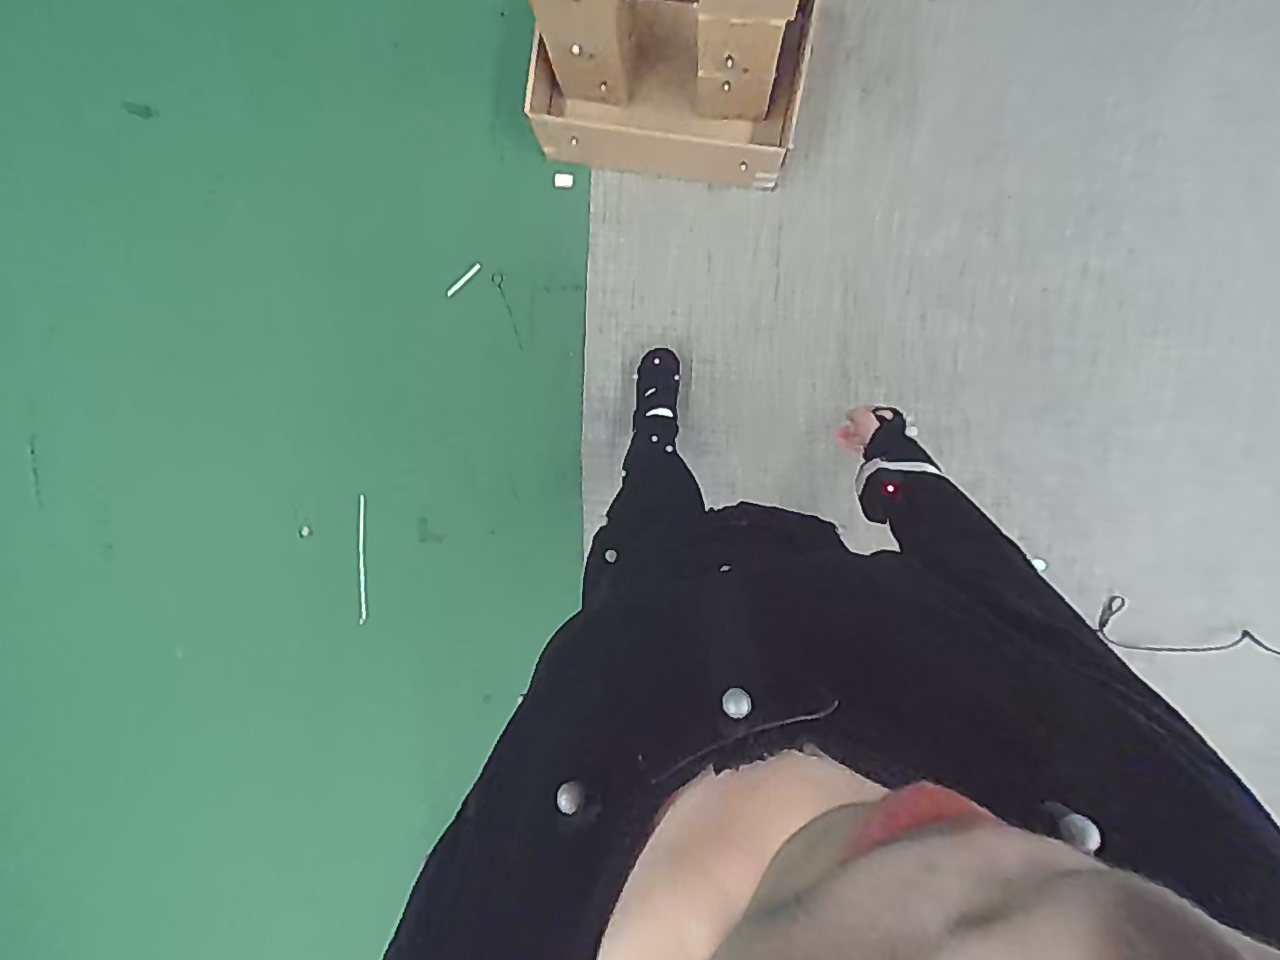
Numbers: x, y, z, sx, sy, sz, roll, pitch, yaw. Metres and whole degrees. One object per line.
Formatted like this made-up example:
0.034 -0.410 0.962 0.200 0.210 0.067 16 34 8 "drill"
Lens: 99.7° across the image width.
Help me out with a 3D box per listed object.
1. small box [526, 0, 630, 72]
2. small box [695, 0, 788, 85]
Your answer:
-0.117 -0.984 1.097 0.168 0.176 0.179 13 98 3 "small box"
0.203 -0.934 1.073 0.168 0.176 0.179 9 97 5 "small box"
